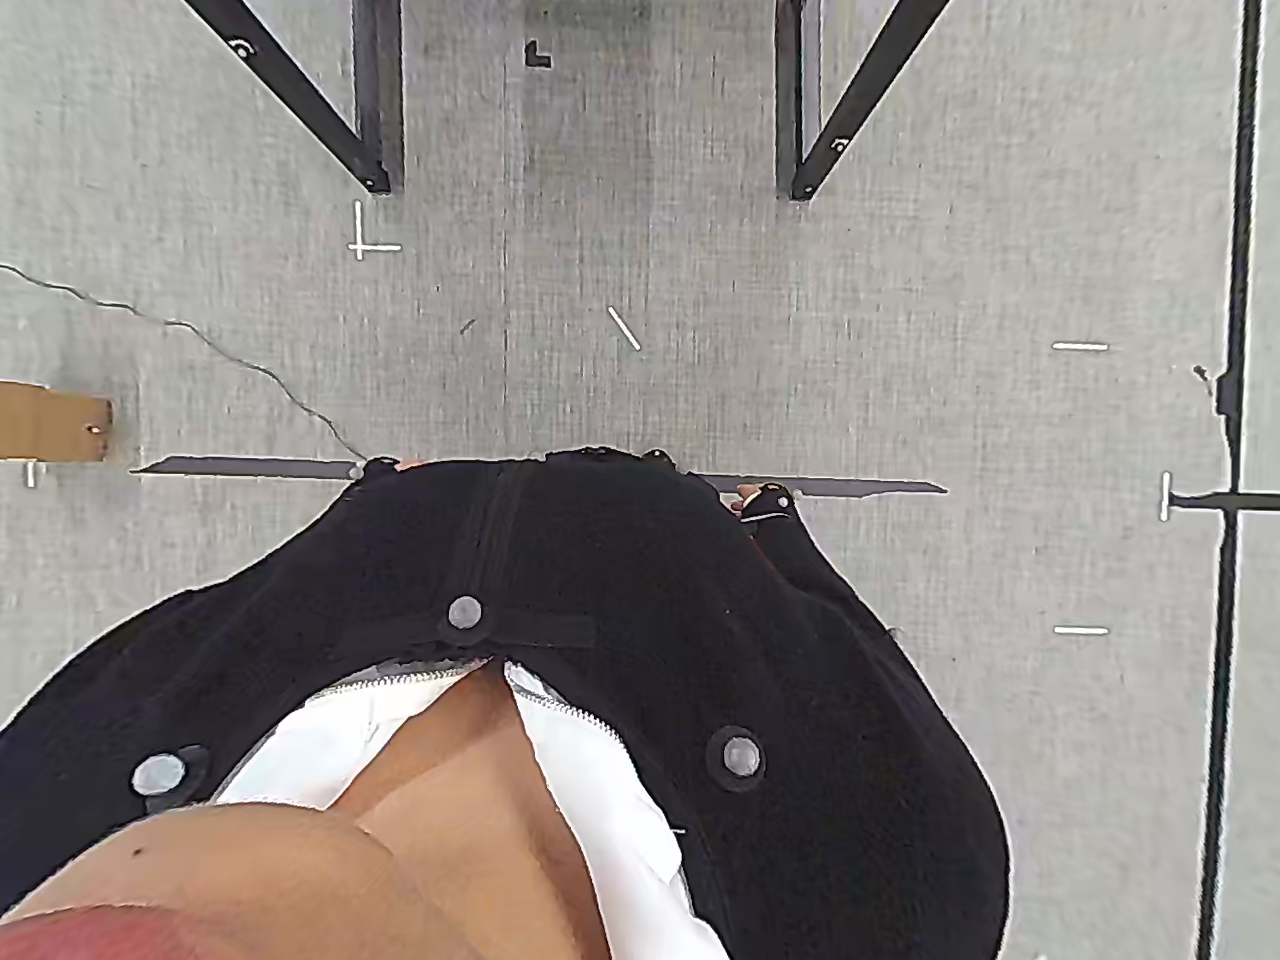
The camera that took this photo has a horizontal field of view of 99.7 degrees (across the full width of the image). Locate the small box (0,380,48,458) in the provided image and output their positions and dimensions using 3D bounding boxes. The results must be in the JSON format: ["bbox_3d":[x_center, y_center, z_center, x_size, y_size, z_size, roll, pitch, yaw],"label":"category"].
[{"bbox_3d":[-1.490,-0.139,1.205,0.168,0.176,0.179,2,92,-2],"label":"small box"}]

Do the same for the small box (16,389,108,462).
[{"bbox_3d":[-1.511,-0.142,1.370,0.168,0.176,0.179,8,91,-2],"label":"small box"}]
